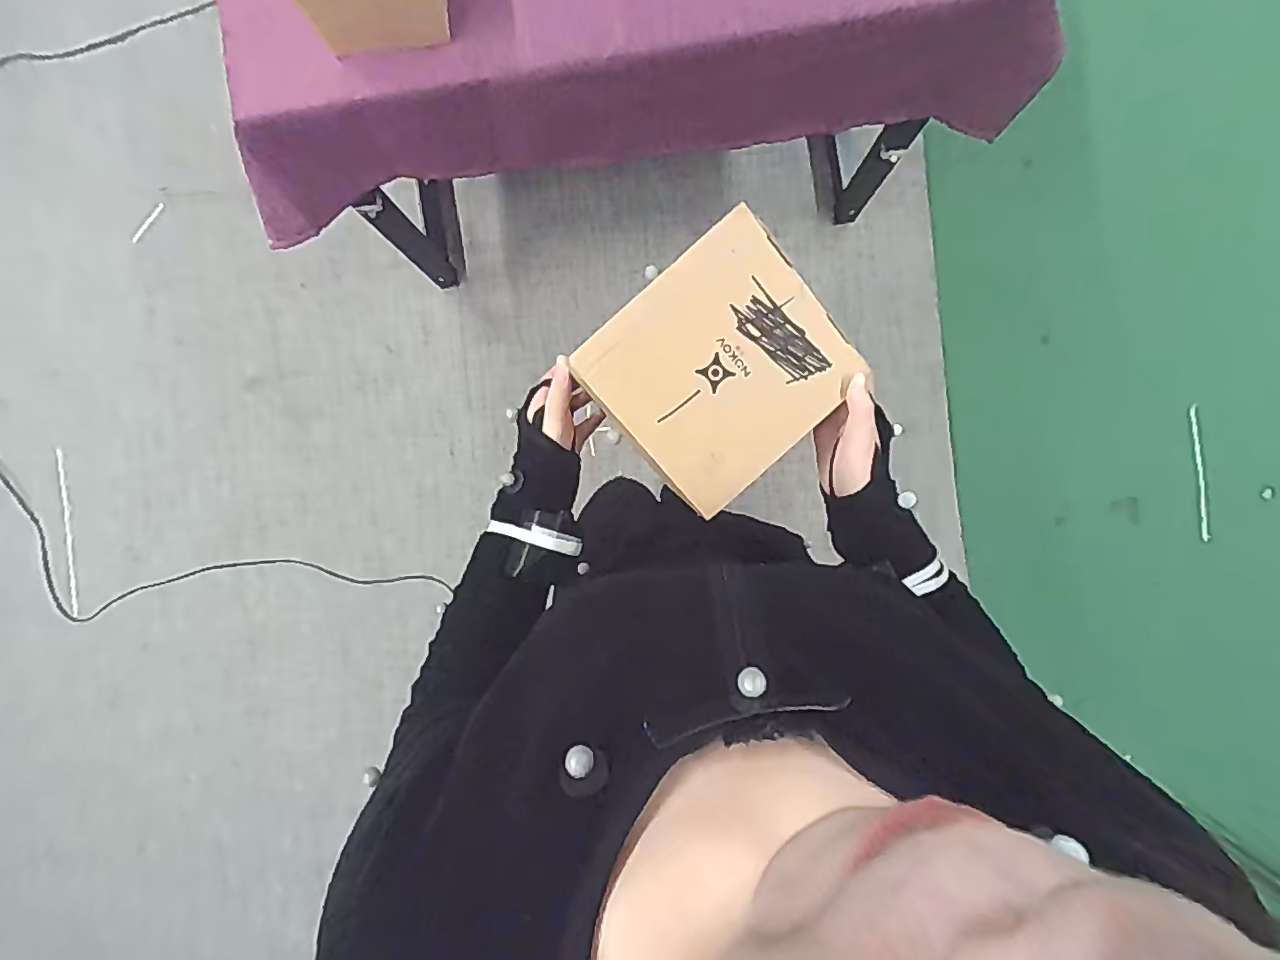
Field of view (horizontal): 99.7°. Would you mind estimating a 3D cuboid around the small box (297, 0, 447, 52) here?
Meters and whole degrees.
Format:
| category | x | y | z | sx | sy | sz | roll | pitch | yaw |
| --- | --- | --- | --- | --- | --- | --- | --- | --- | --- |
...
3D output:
| category | x | y | z | sx | sy | sz | roll | pitch | yaw |
| --- | --- | --- | --- | --- | --- | --- | --- | --- | --- |
| small box | -0.377 | -0.713 | 0.717 | 0.179 | 0.176 | 0.168 | -5 | 89 | 1 |
